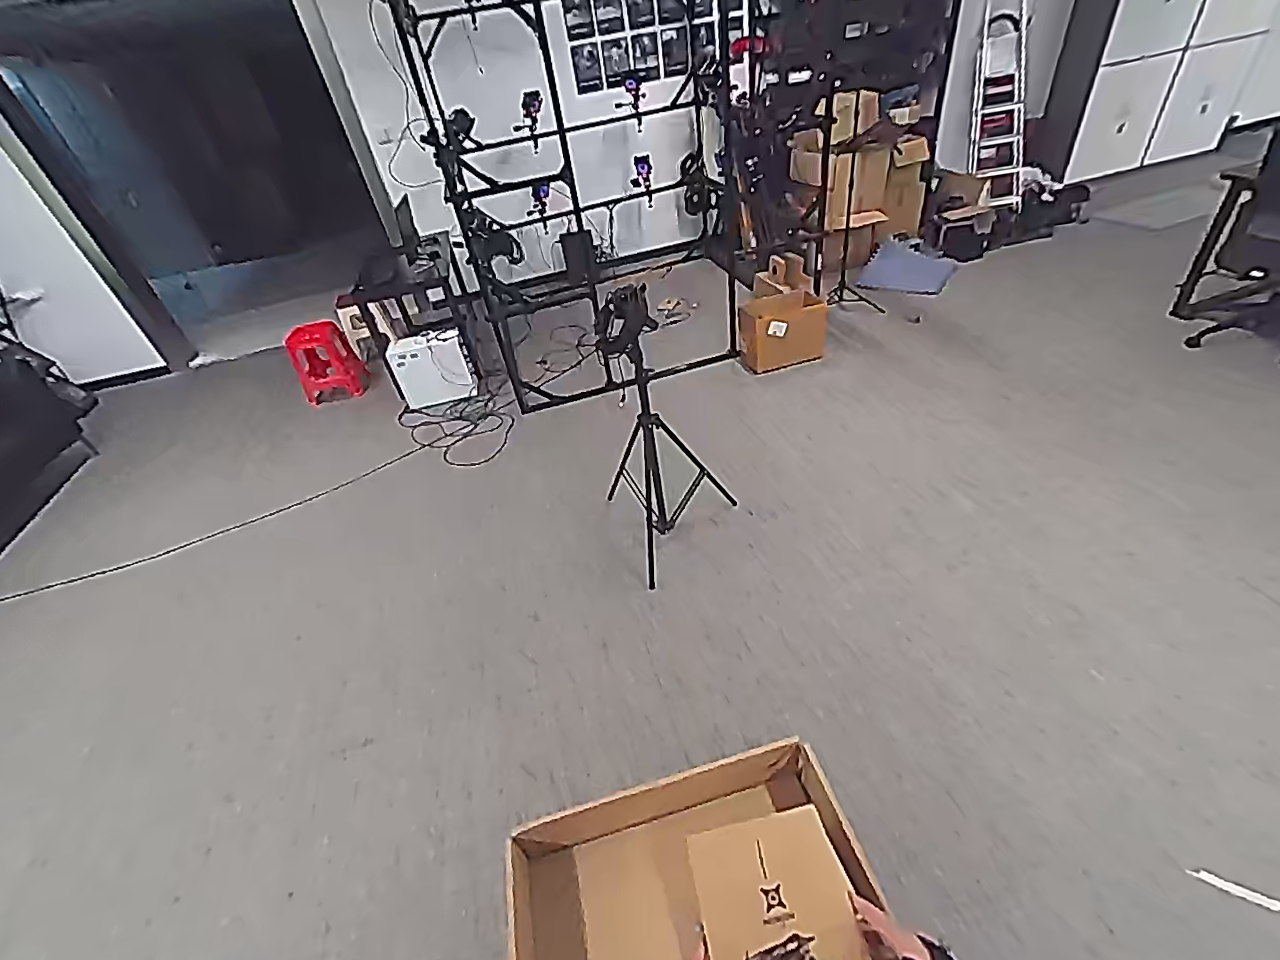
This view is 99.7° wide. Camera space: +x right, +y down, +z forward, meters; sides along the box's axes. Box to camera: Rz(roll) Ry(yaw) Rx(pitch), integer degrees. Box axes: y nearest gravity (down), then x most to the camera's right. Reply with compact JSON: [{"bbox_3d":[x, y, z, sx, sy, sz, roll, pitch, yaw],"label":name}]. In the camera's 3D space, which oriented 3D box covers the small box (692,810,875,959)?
[{"bbox_3d":[0.169,0.532,0.648,0.168,0.176,0.179,-14,43,-1],"label":"small box"}]
